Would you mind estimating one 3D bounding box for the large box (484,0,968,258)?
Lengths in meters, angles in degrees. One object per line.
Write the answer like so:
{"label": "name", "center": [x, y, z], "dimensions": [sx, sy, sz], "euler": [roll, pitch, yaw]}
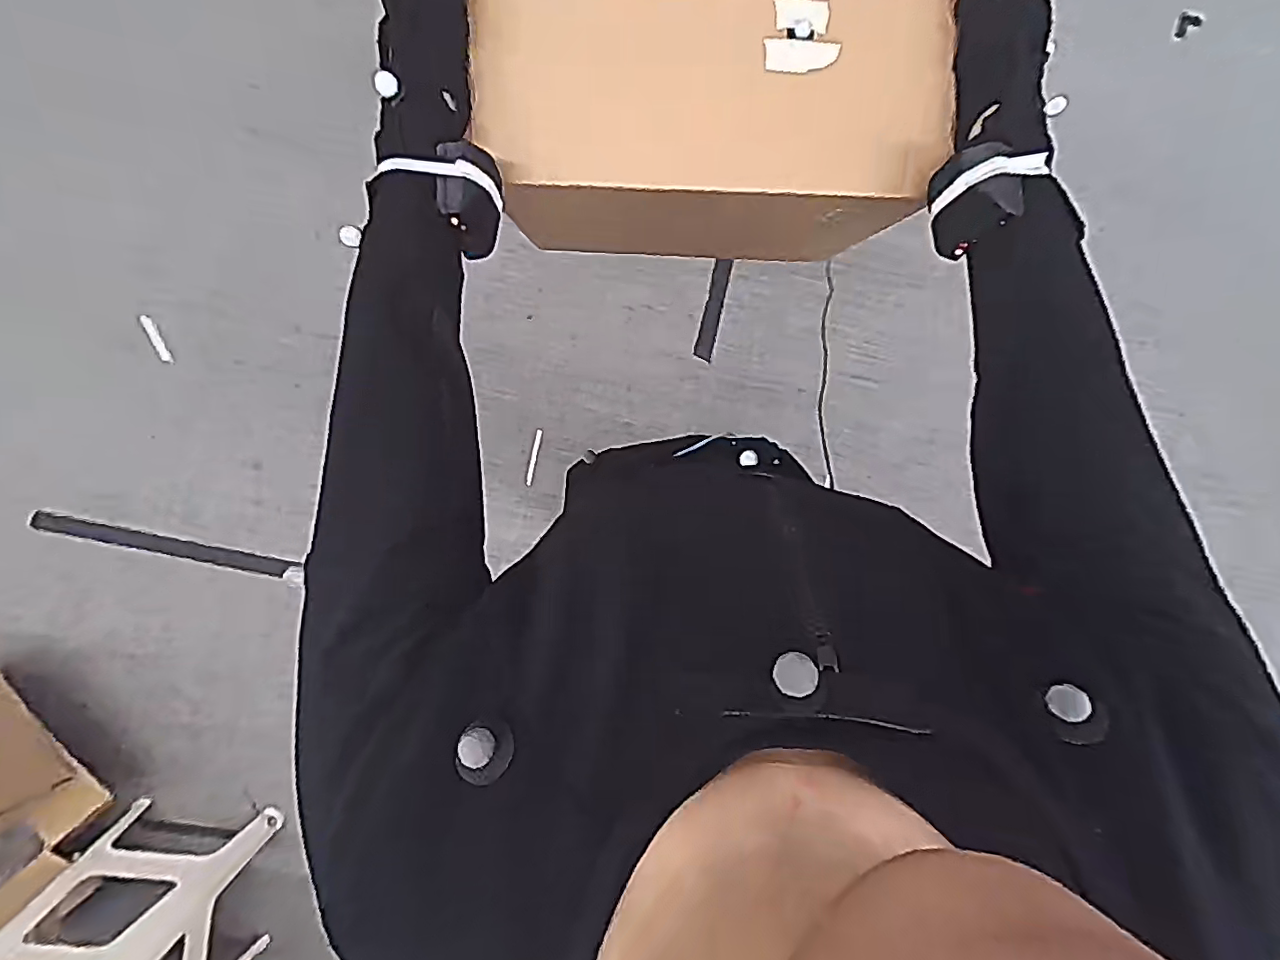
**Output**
{"label": "large box", "center": [0.068, -0.433, 0.583], "dimensions": [0.408, 0.320, 0.320], "euler": [2, 103, -1]}
